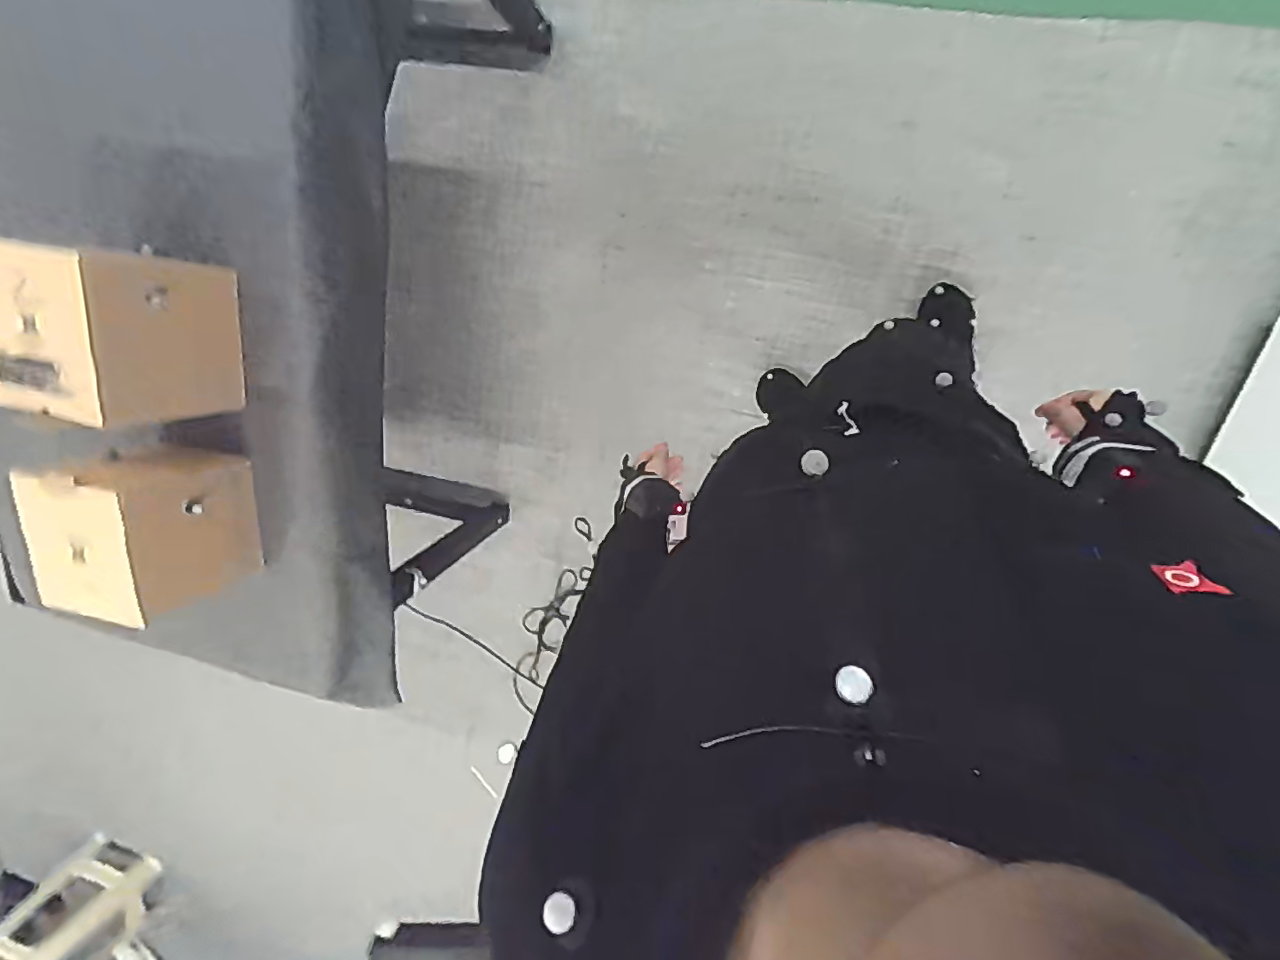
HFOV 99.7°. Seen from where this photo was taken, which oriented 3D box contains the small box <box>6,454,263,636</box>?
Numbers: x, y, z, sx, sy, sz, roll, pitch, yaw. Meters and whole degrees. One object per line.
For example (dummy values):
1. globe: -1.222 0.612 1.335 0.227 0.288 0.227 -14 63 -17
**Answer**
1. small box: -0.634 0.071 0.702 0.168 0.176 0.179 7 107 12
